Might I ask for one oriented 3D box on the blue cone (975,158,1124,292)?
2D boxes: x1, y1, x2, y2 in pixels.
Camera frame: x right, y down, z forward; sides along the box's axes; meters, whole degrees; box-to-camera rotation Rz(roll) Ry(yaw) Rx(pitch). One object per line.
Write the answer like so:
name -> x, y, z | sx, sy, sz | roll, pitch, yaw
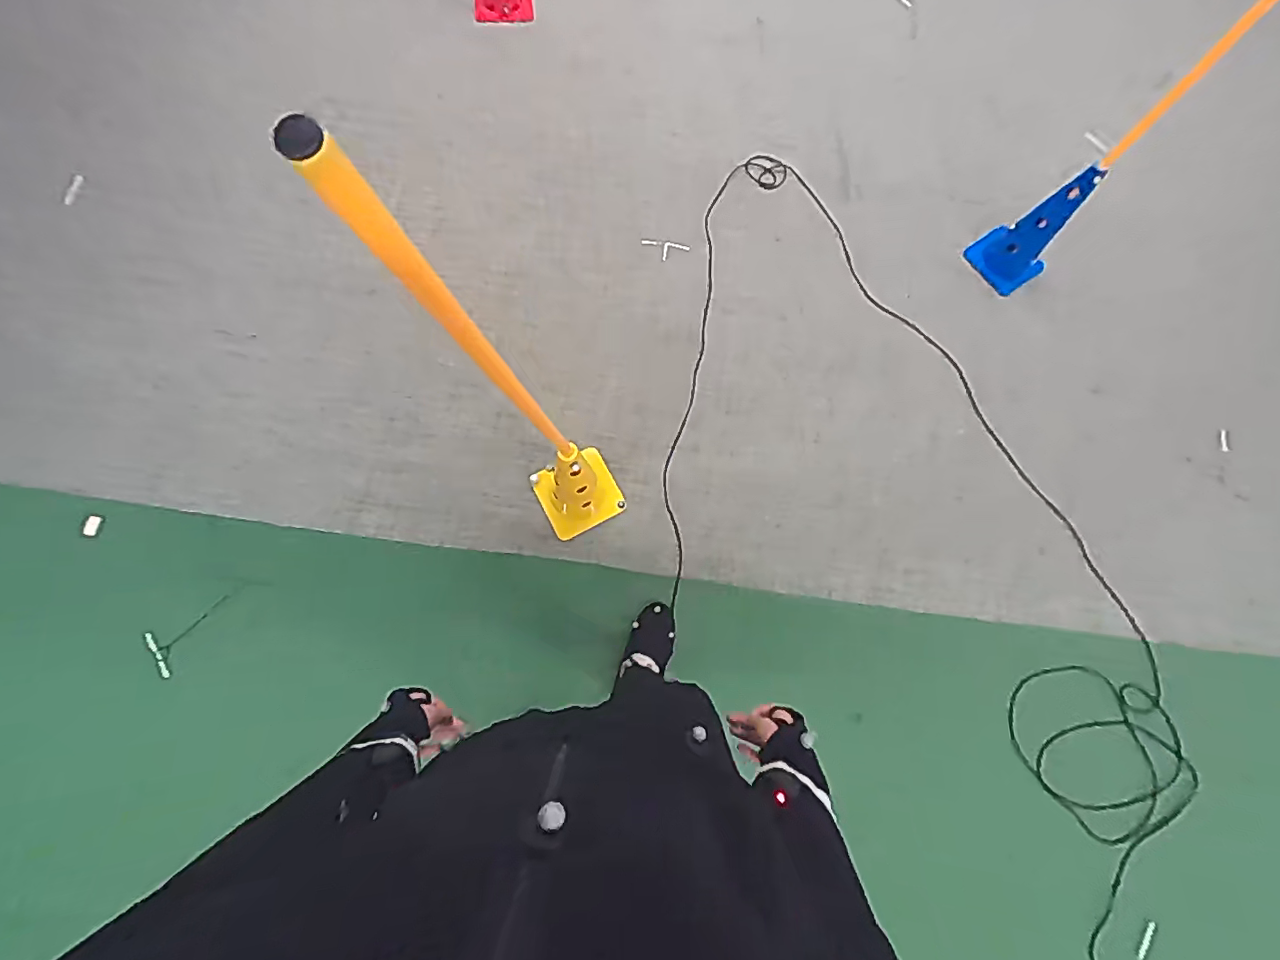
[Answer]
blue cone -> 1.156, -0.732, 1.509 | 0.193, 0.380, 0.192 | -35, 79, -13
